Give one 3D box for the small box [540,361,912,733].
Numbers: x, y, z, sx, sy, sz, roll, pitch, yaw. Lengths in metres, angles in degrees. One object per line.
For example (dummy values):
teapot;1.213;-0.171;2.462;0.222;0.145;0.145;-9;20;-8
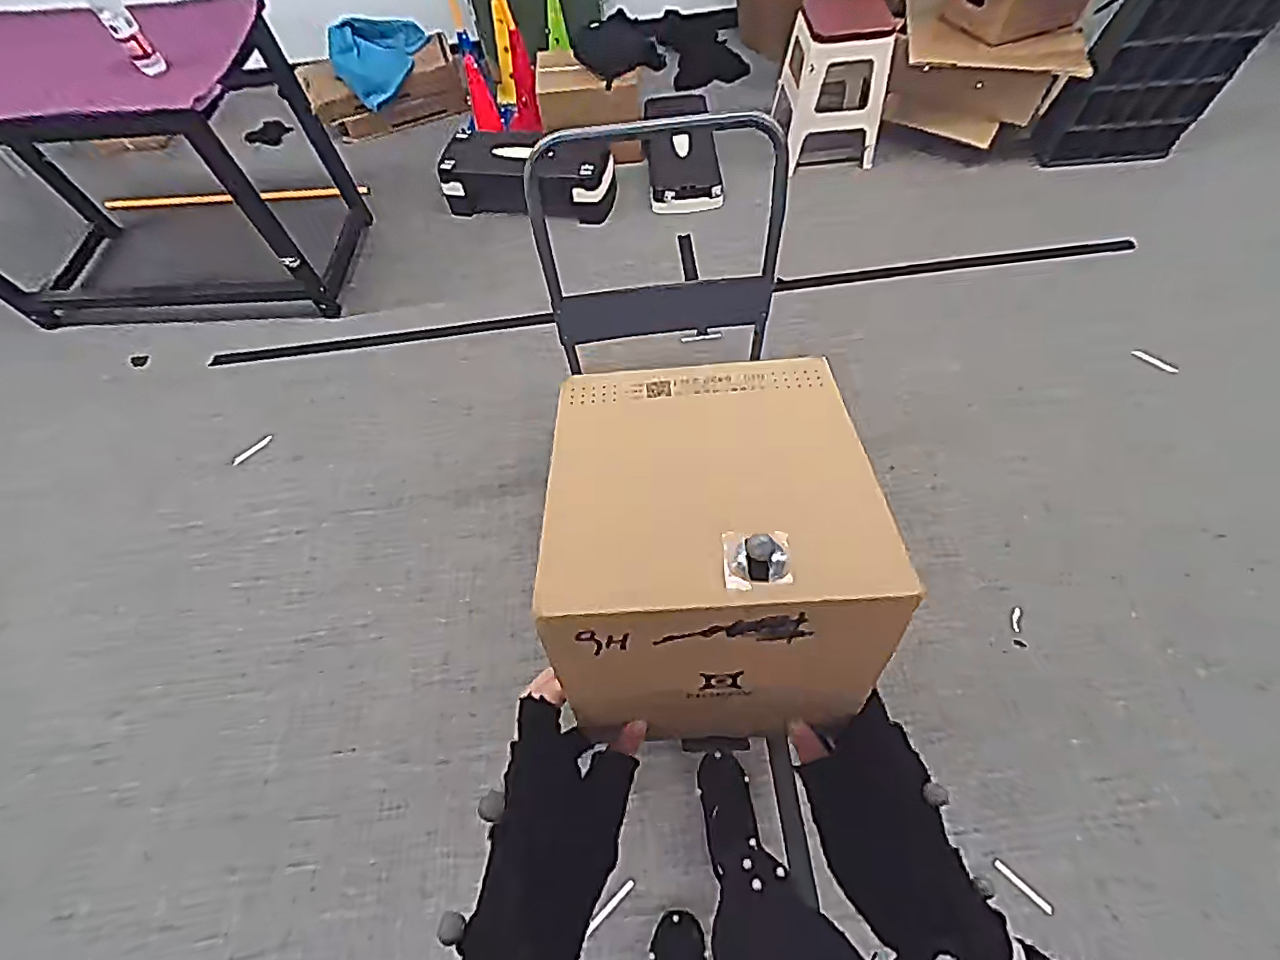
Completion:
small box;0.040;0.047;0.349;0.168;0.179;0.176;-4;48;2
